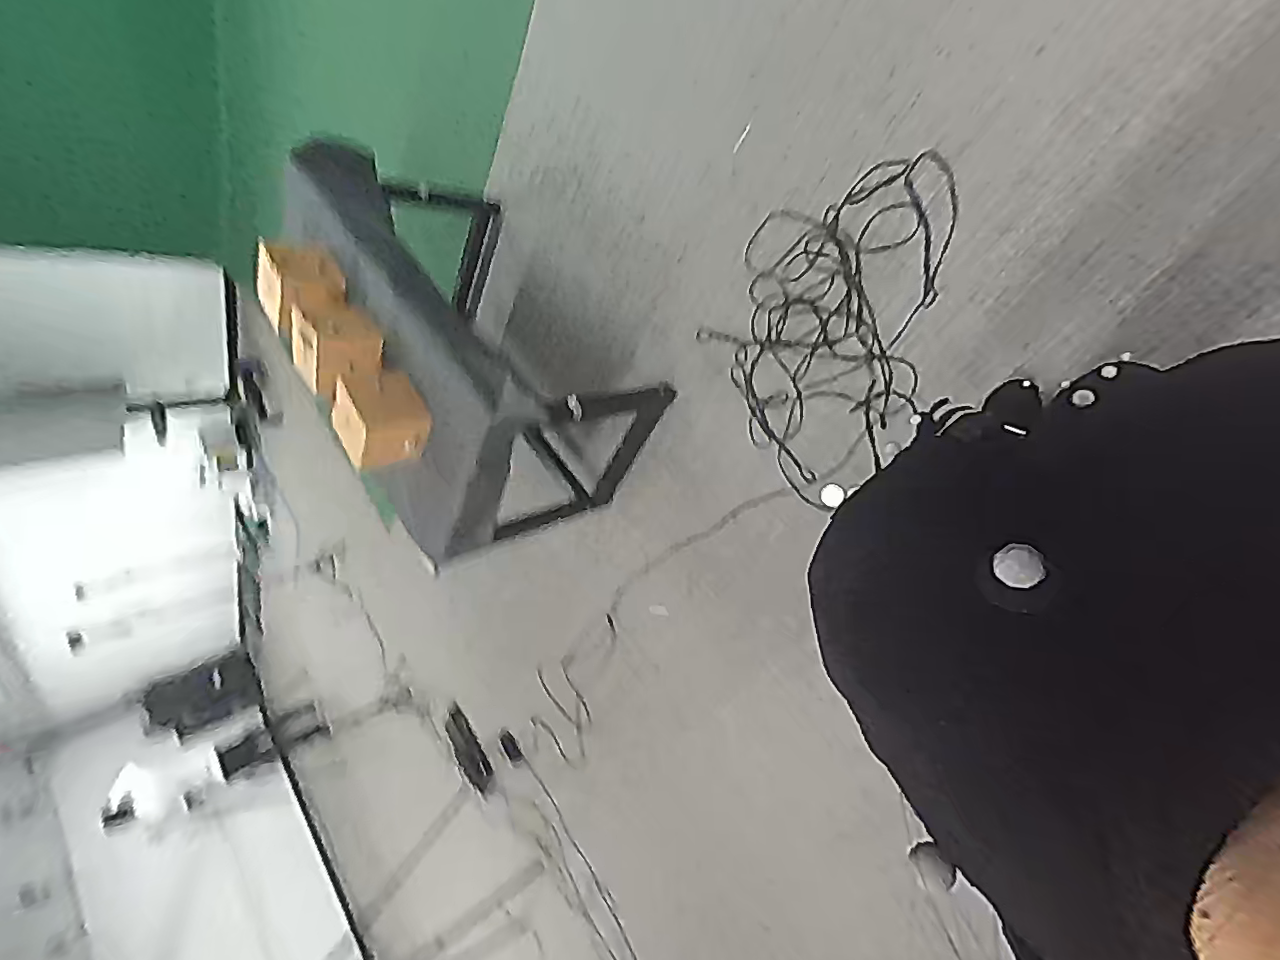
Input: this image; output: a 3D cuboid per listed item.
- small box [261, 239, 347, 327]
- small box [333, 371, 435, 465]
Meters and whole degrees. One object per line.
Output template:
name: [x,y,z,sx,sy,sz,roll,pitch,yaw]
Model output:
small box: [-0.970,-0.563,1.563,0.168,0.176,0.179,55,132,17]
small box: [-0.655,-0.165,1.385,0.179,0.176,0.168,53,133,17]
